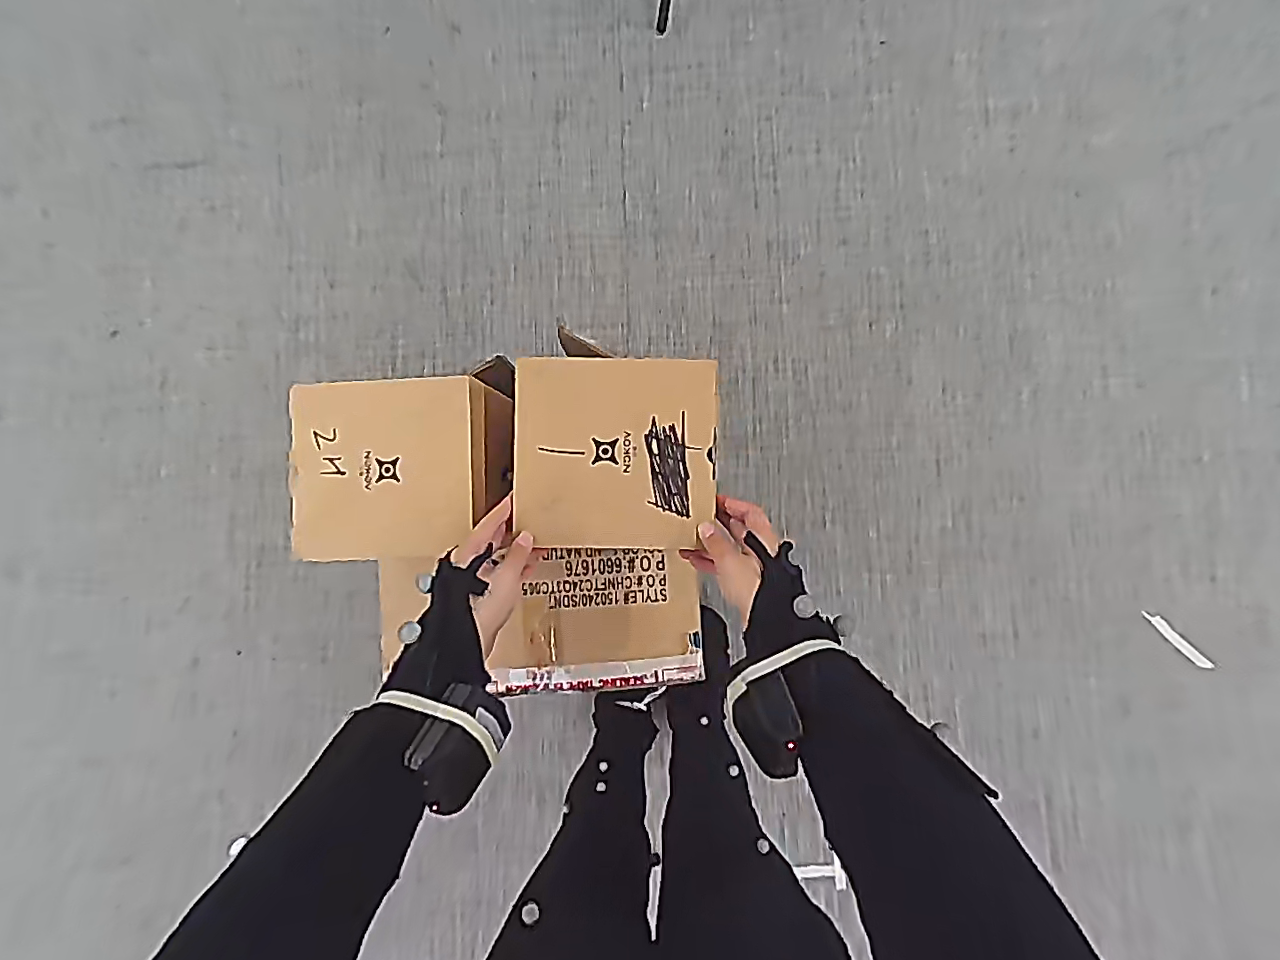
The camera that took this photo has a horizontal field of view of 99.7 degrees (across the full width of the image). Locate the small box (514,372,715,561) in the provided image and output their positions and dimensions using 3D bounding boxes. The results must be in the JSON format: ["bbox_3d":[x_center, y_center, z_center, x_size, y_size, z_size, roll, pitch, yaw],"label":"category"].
[{"bbox_3d":[-0.023,-0.010,0.552,0.179,0.176,0.168,0,87,0],"label":"small box"}]

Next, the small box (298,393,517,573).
[{"bbox_3d":[-0.227,0.007,0.578,0.179,0.176,0.168,-3,86,5],"label":"small box"}]
